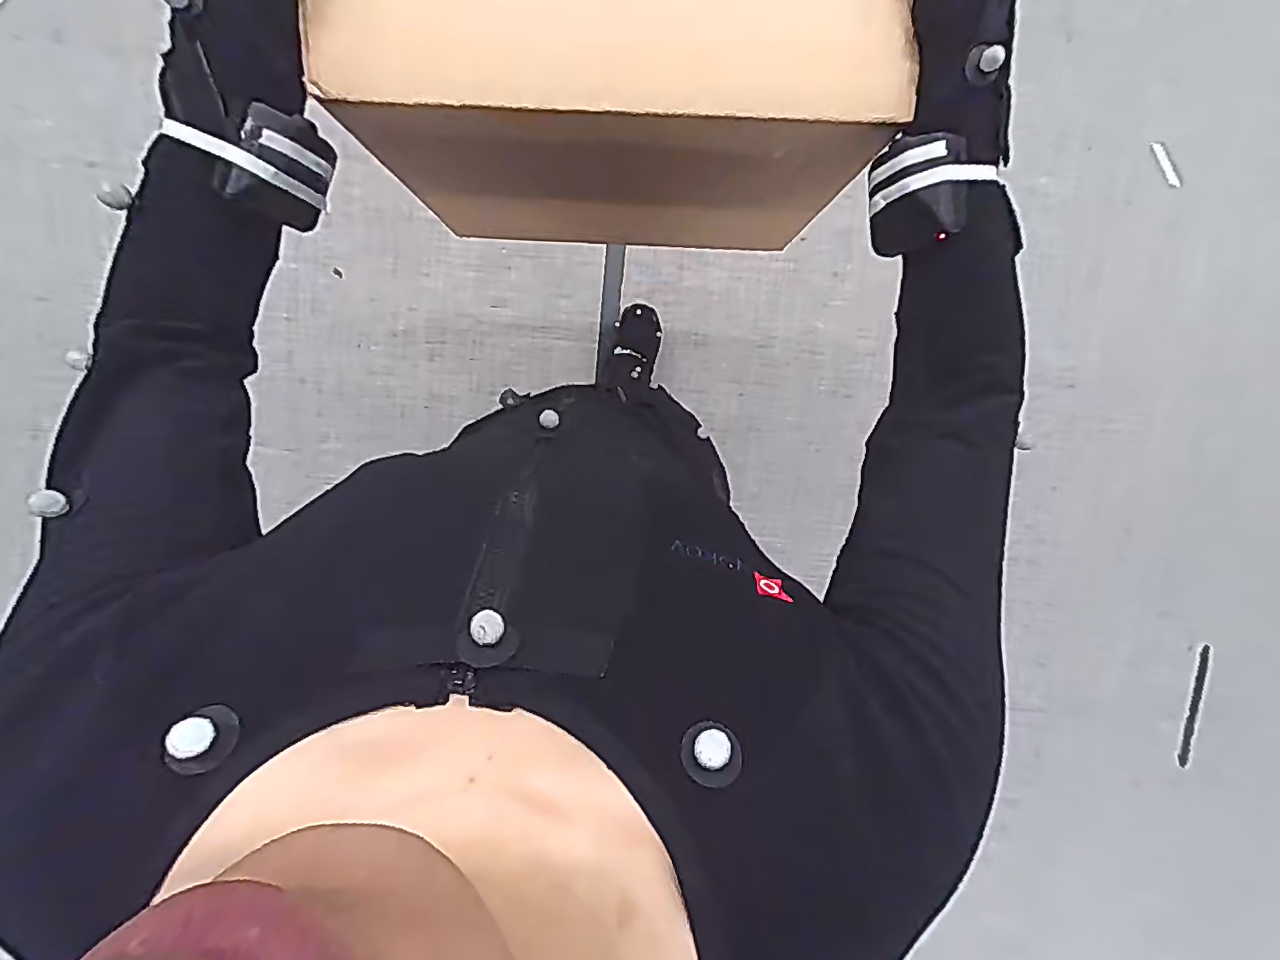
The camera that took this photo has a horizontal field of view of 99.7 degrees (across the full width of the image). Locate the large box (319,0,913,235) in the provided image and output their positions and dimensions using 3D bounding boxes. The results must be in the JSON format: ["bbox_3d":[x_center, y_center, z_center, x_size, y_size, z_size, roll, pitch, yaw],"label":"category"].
[{"bbox_3d":[-0.016,-0.434,0.494,0.408,0.320,0.320,2,98,-2],"label":"large box"}]
